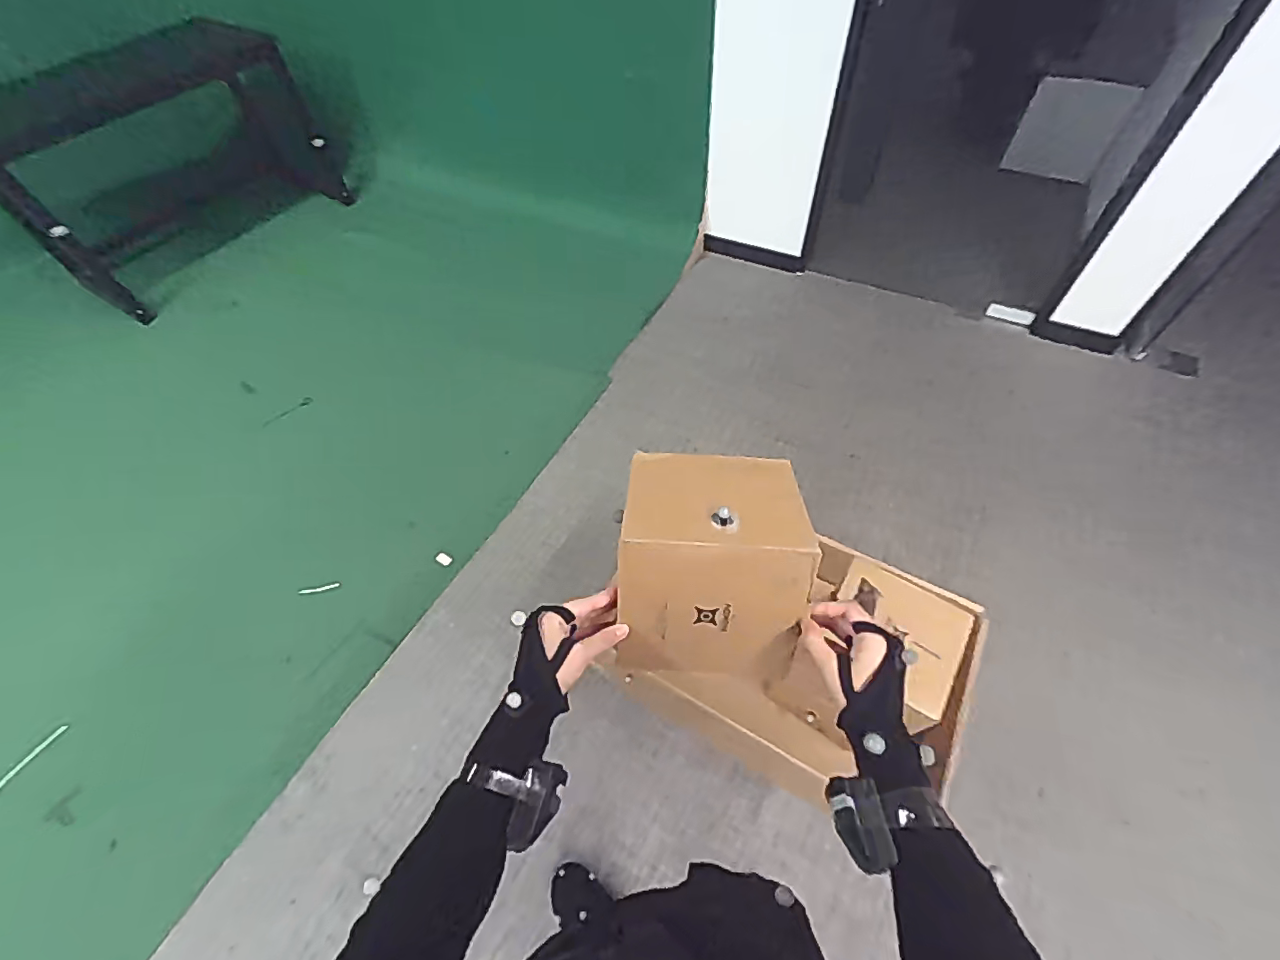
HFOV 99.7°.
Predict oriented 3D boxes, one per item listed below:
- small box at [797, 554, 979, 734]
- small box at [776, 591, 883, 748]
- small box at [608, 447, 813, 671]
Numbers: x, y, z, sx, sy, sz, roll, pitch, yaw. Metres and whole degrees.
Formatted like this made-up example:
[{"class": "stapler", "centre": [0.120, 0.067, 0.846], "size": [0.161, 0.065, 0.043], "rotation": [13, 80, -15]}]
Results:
[{"class": "small box", "centre": [0.352, 0.247, 0.797], "size": [0.179, 0.176, 0.168], "rotation": [28, 62, 21]}, {"class": "small box", "centre": [0.351, 0.333, 0.937], "size": [0.168, 0.176, 0.179], "rotation": [29, 62, 22]}, {"class": "small box", "centre": [0.061, 0.075, 0.567], "size": [0.179, 0.168, 0.176], "rotation": [3, 30, 1]}]
